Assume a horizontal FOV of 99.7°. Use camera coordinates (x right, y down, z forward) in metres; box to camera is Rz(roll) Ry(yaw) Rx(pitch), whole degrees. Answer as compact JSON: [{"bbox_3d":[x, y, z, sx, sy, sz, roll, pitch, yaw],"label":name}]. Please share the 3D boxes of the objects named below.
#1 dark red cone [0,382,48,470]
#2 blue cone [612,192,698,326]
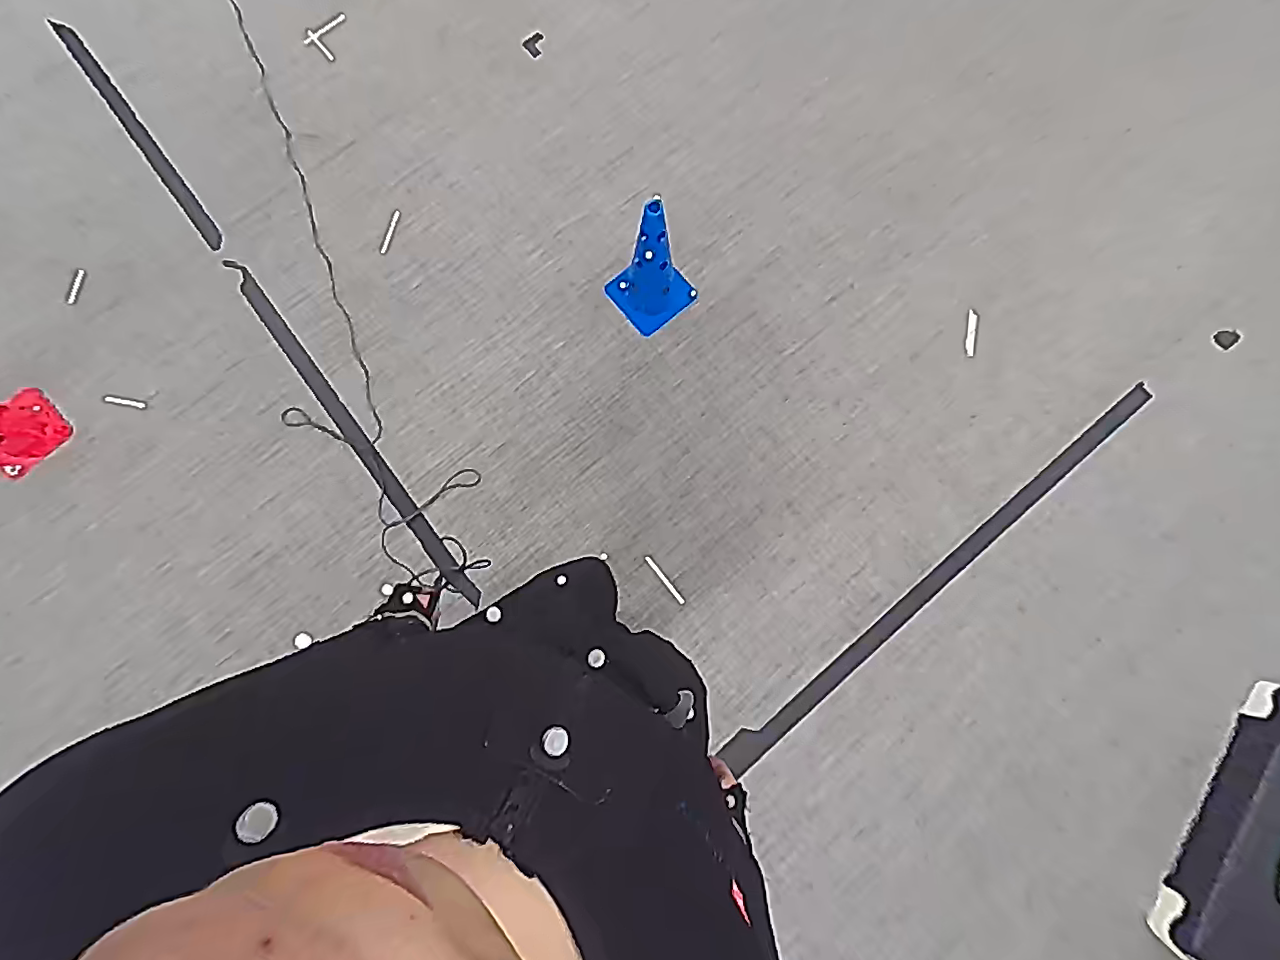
[{"bbox_3d":[-1.674,-0.165,1.256,0.202,0.394,0.201,43,82,7],"label":"dark red cone"},{"bbox_3d":[0.039,-0.563,1.338,0.192,0.380,0.193,-38,82,-7],"label":"blue cone"}]
